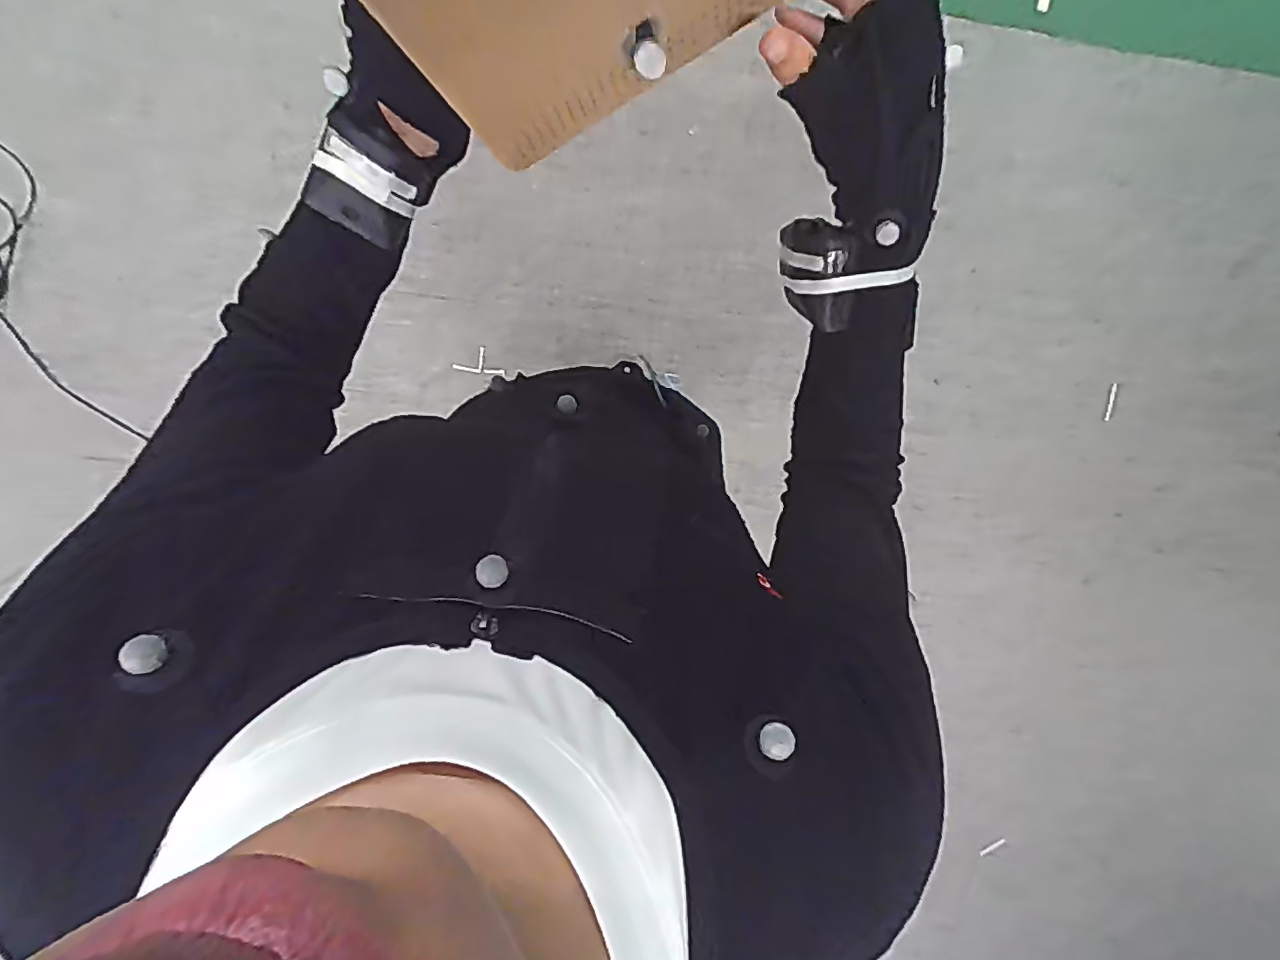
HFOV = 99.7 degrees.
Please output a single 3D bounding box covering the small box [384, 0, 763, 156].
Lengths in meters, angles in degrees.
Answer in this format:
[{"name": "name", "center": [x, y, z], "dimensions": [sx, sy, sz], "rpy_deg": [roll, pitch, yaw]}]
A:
[{"name": "small box", "center": [-0.038, -0.268, 0.198], "dimensions": [0.179, 0.176, 0.168], "rpy_deg": [-27, 95, 9]}]
